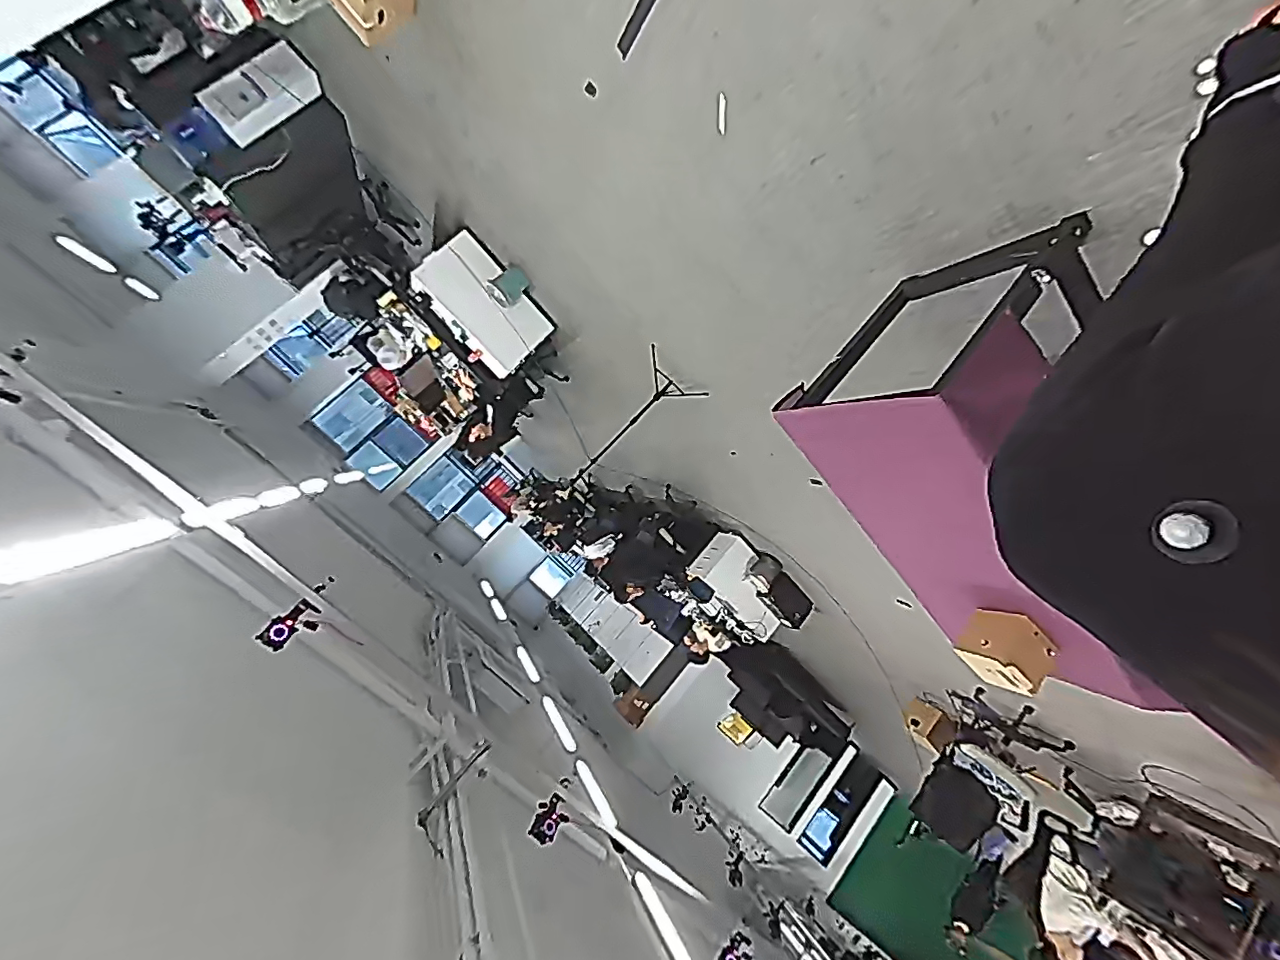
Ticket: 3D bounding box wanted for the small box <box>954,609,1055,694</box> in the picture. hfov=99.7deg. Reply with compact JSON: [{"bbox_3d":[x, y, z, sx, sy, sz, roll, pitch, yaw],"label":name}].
[{"bbox_3d":[1.129,0.520,1.667,0.168,0.176,0.179,44,167,-6],"label":"small box"}]
